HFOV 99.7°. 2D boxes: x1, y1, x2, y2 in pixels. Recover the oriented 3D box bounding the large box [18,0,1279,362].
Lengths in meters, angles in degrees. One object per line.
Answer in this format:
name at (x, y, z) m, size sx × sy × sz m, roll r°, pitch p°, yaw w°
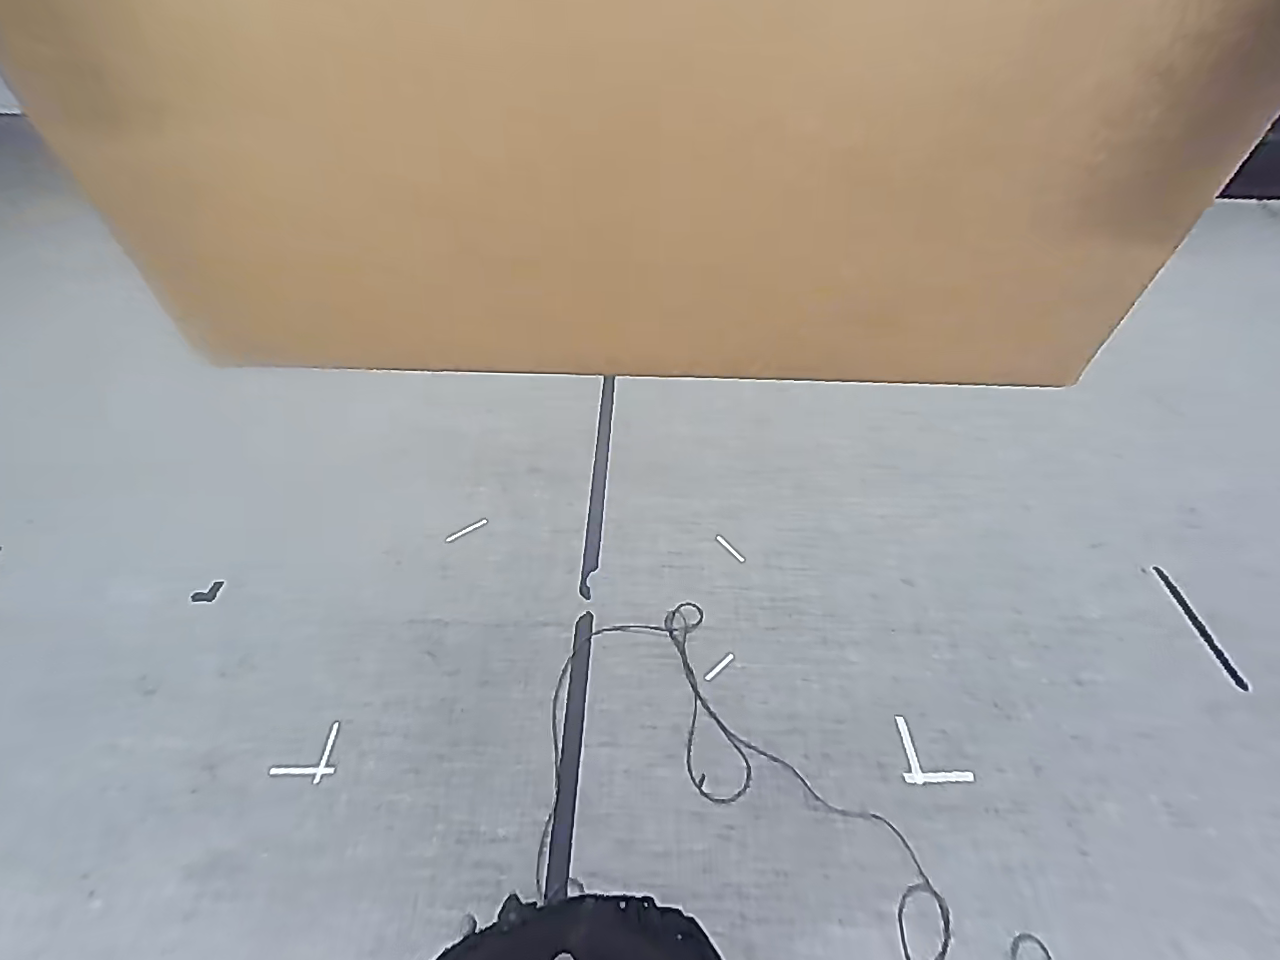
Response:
large box at (0.007, -0.269, 0.247) m, size 0.408 × 0.320 × 0.320 m, roll 2°, pitch 48°, yaw -1°
